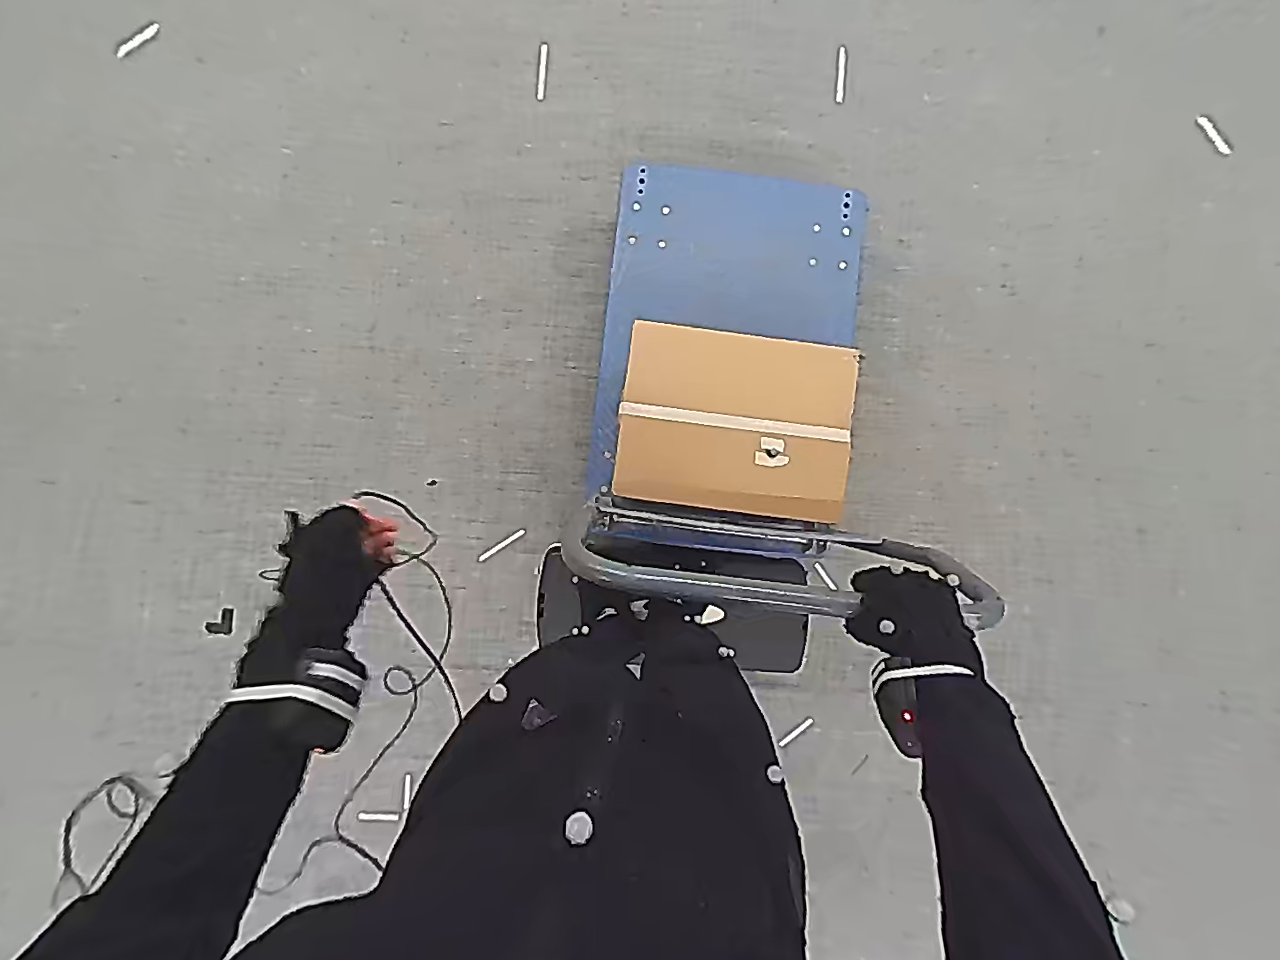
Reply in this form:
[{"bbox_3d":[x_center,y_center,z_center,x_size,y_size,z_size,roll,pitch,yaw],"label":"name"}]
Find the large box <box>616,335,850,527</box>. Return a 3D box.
[{"bbox_3d":[0.163,-0.082,1.118,0.408,0.320,0.320,7,89,-1],"label":"large box"}]
